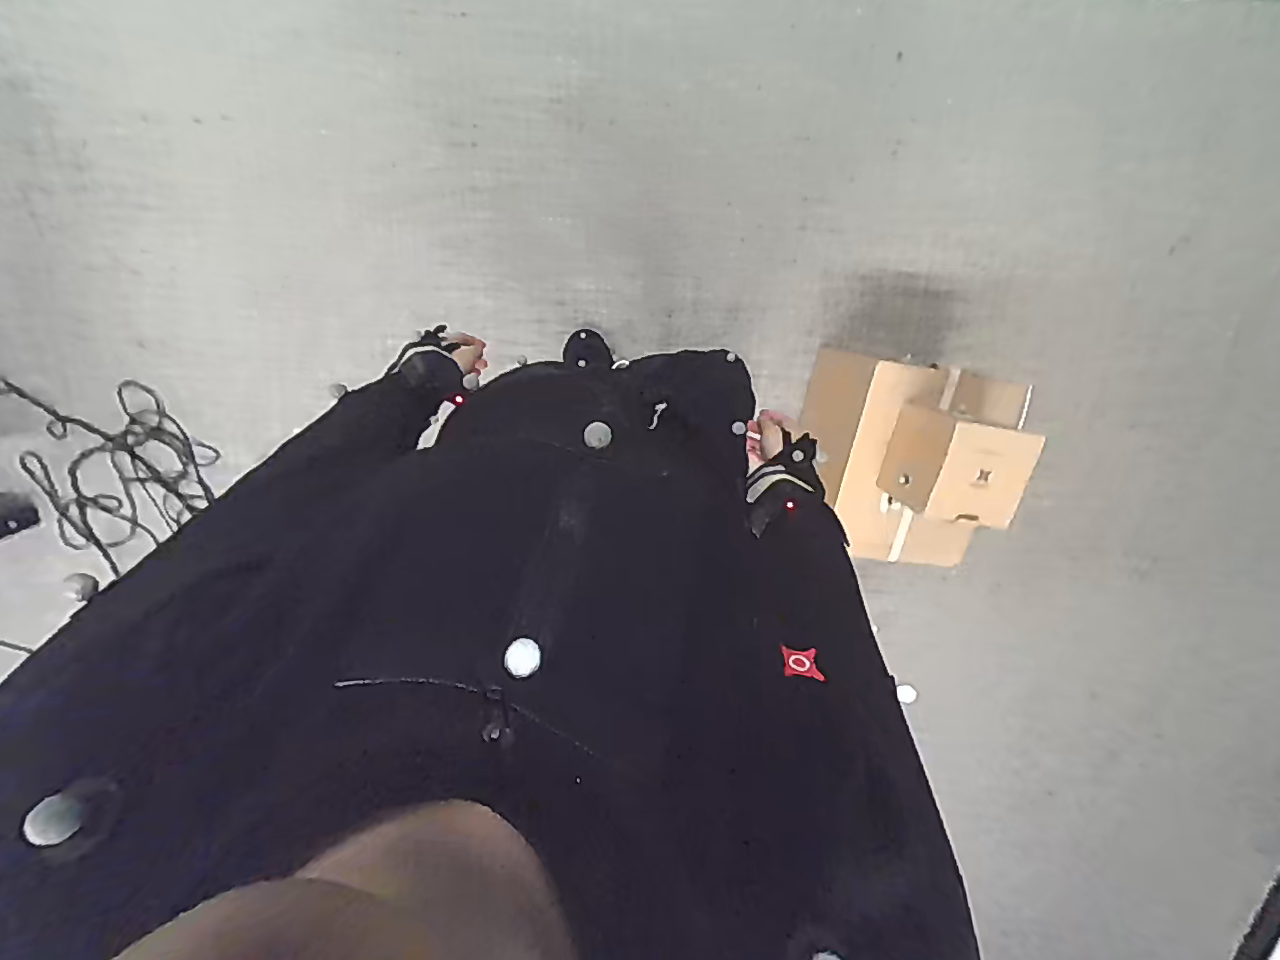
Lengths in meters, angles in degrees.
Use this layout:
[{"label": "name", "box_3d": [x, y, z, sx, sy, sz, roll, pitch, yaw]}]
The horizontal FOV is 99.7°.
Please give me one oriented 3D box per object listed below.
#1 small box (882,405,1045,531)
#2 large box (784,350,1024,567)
[{"label": "small box", "box_3d": [0.573, -0.027, 0.986, 0.168, 0.176, 0.179, 8, 107, -8]}, {"label": "large box", "box_3d": [0.559, -0.064, 1.230, 0.320, 0.320, 0.408, 8, 109, -5]}]
